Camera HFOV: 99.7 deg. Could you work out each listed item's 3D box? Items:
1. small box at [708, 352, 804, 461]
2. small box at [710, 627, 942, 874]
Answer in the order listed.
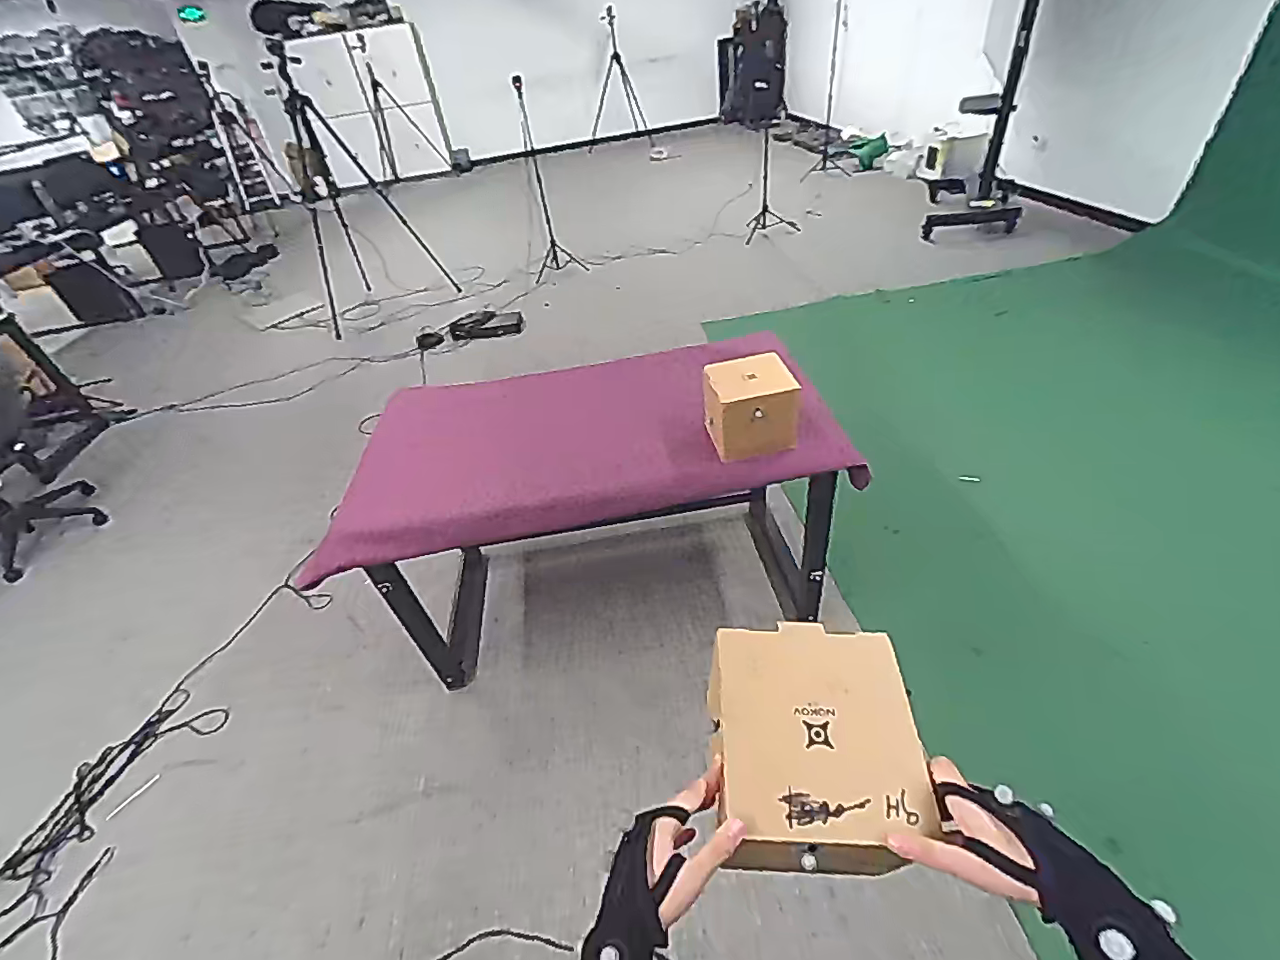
[{"bbox_3d":[0.264,-0.169,1.254,0.179,0.176,0.168,-13,42,0],"label":"small box"},{"bbox_3d":[0.156,0.263,0.528,0.168,0.176,0.179,-1,48,5],"label":"small box"}]
